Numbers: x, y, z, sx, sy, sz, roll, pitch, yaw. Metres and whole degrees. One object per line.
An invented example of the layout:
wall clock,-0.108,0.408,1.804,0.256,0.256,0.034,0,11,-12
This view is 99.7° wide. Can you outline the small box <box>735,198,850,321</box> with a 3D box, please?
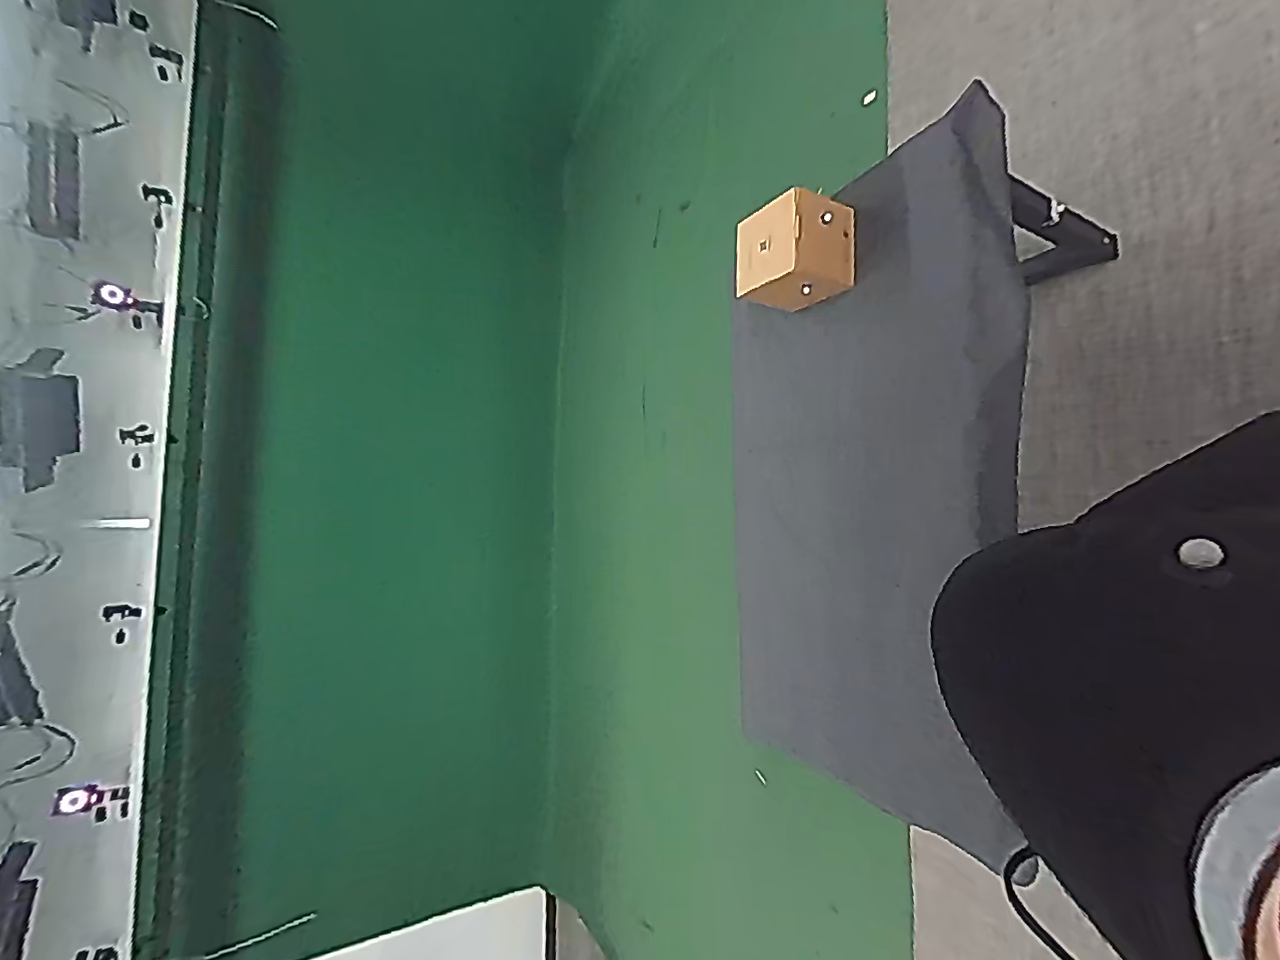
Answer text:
small box,0.323,-0.454,1.143,0.179,0.176,0.168,-5,81,61
